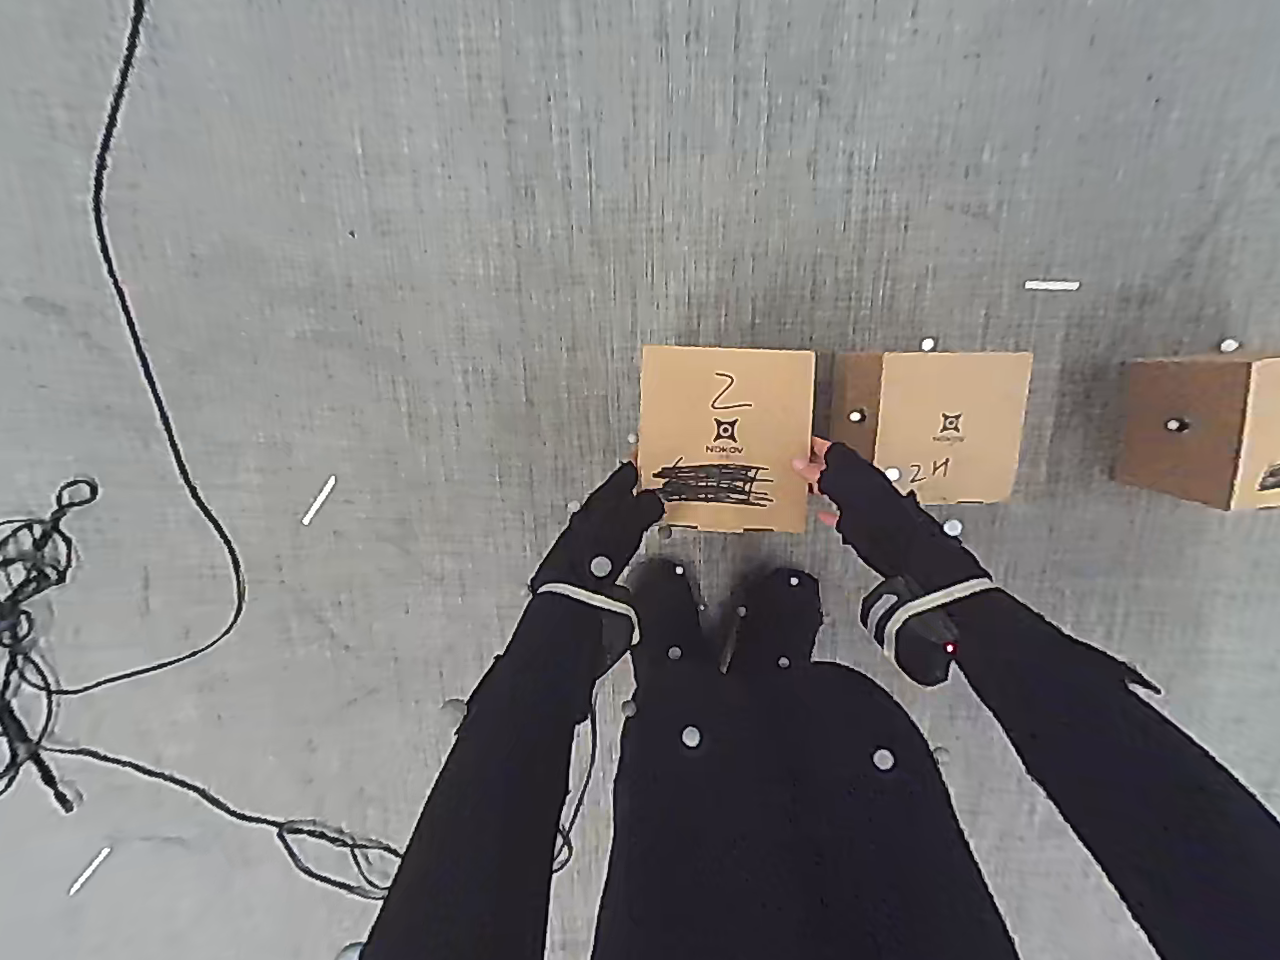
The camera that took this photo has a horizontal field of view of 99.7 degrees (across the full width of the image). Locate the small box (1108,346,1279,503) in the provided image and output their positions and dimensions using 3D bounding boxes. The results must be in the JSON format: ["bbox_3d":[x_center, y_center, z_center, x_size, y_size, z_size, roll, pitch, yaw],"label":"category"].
[{"bbox_3d":[0.756,-0.079,0.697,0.168,0.176,0.179,-5,102,2],"label":"small box"}]

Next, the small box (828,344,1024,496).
[{"bbox_3d":[0.354,-0.084,0.704,0.168,0.176,0.179,1,103,3],"label":"small box"}]
